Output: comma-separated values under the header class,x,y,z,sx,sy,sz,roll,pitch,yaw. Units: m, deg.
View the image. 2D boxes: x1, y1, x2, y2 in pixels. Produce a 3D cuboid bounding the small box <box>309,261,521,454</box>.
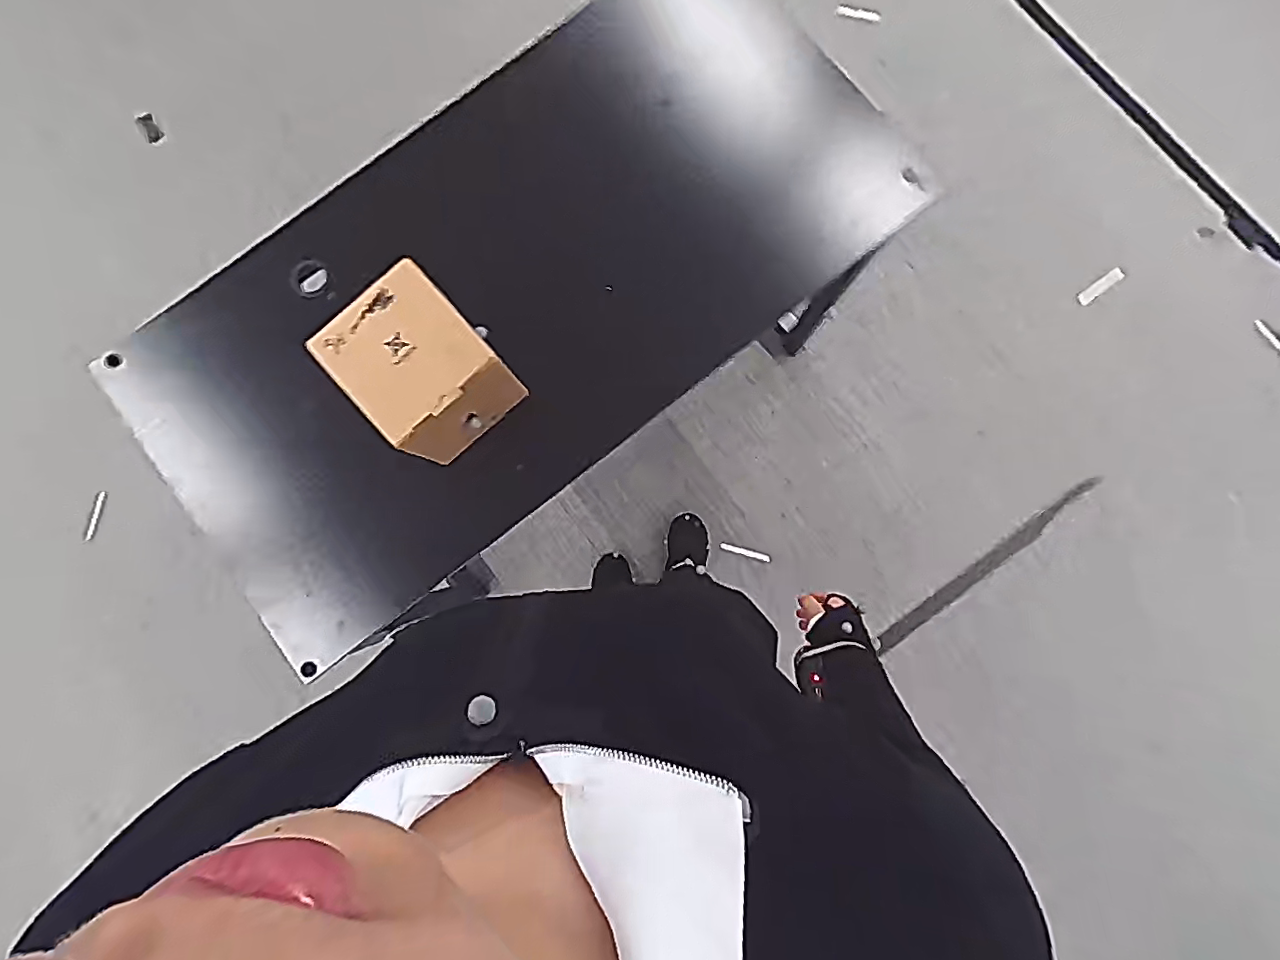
class,x,y,z,sx,sy,sz,roll,pitch,yaw
small box,-0.289,-0.150,0.739,0.168,0.176,0.179,-42,84,-3
